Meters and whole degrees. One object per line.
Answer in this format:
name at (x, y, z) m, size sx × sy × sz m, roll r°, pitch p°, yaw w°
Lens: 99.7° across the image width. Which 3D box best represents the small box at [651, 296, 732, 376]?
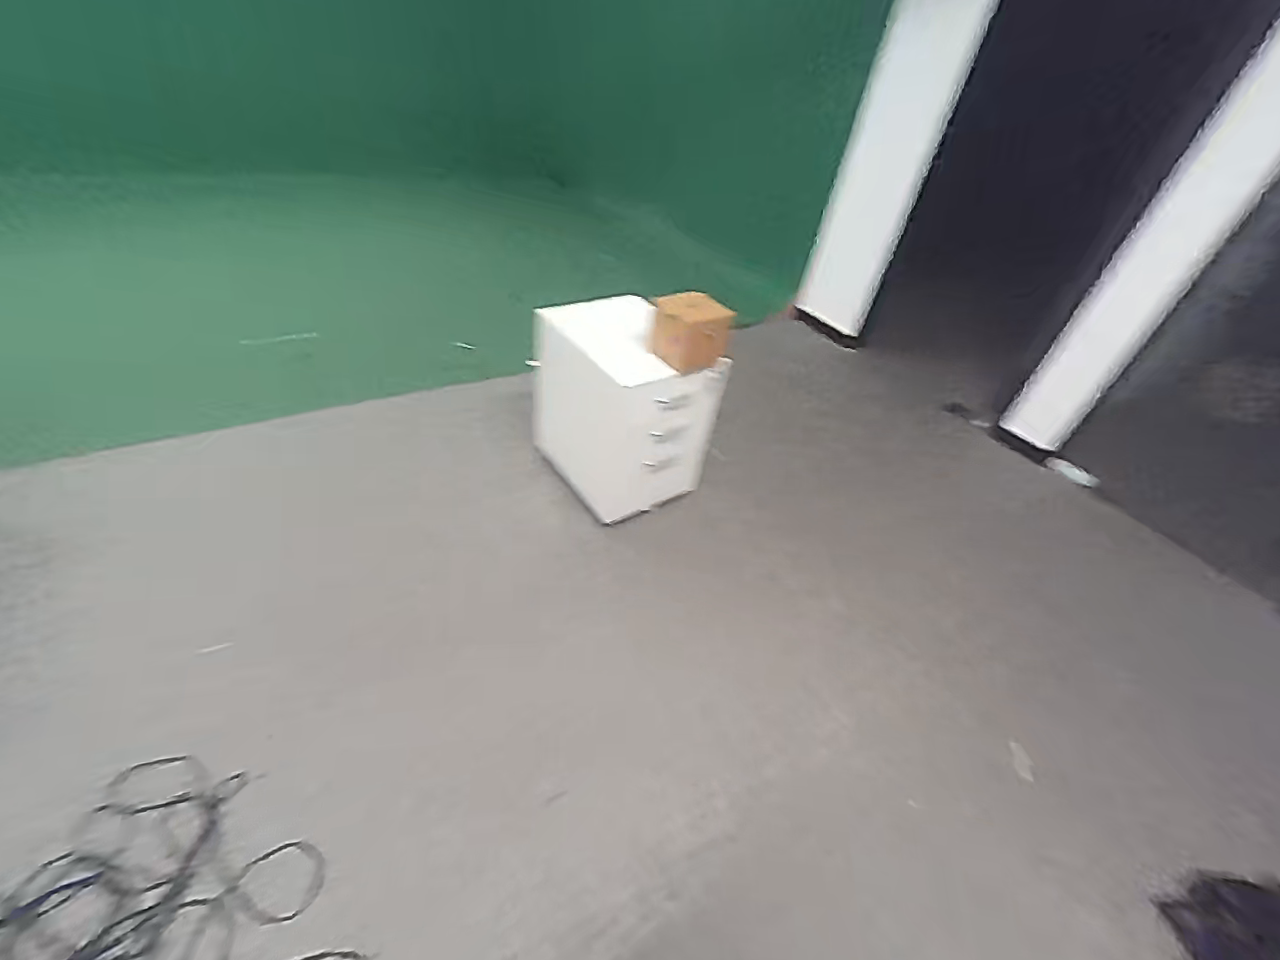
small box at (0.145, -0.429, 1.614) m, size 0.179 × 0.176 × 0.168 m, roll -20°, pitch 49°, yaw -31°
